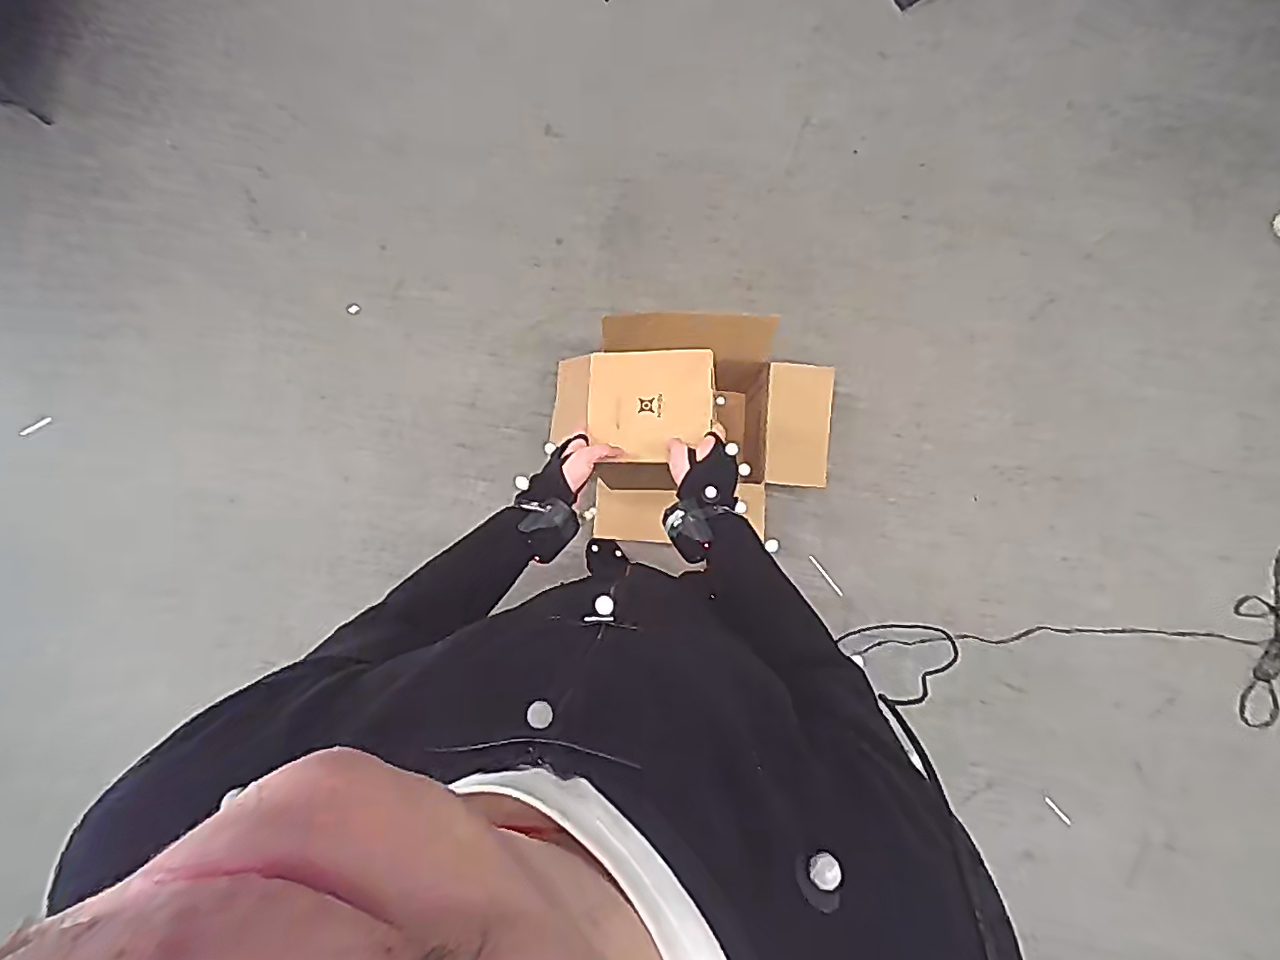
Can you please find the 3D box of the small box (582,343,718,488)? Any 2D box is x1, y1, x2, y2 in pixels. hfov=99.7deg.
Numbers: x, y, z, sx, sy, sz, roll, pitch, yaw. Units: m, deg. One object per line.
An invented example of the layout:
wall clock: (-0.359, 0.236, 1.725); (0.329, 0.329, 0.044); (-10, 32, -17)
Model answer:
small box: (0.025, -0.089, 0.805); (0.179, 0.176, 0.168); (1, 74, 10)
